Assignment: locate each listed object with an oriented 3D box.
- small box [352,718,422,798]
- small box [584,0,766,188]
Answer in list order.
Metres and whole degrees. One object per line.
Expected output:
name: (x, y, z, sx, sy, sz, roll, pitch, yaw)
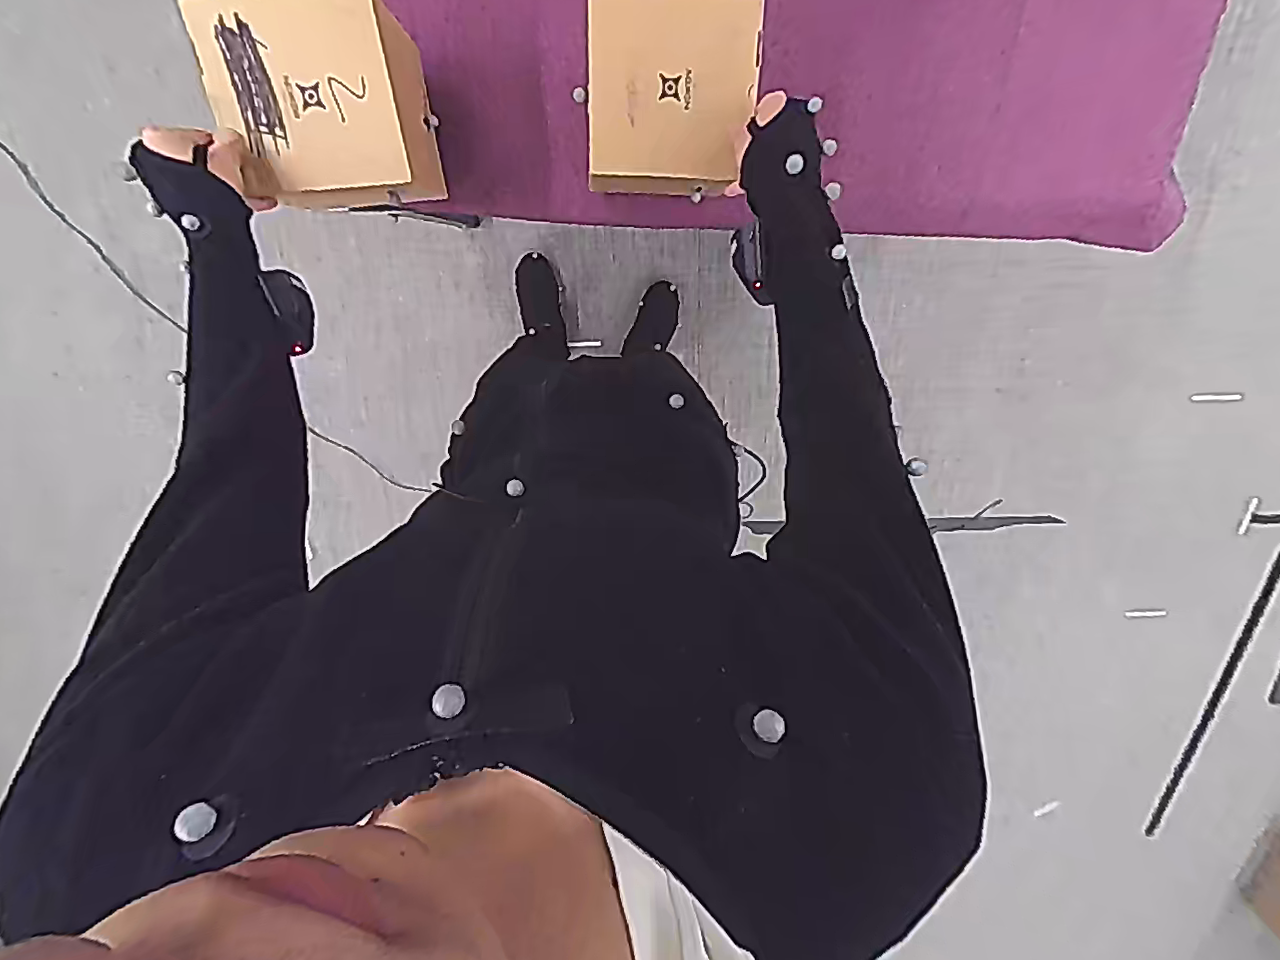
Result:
small box: (-0.924, 1.019, 1.988, 0.168, 0.176, 0.179, 21, 111, -10)
small box: (0.026, -0.439, 0.619, 0.179, 0.176, 0.168, 0, 112, -6)
